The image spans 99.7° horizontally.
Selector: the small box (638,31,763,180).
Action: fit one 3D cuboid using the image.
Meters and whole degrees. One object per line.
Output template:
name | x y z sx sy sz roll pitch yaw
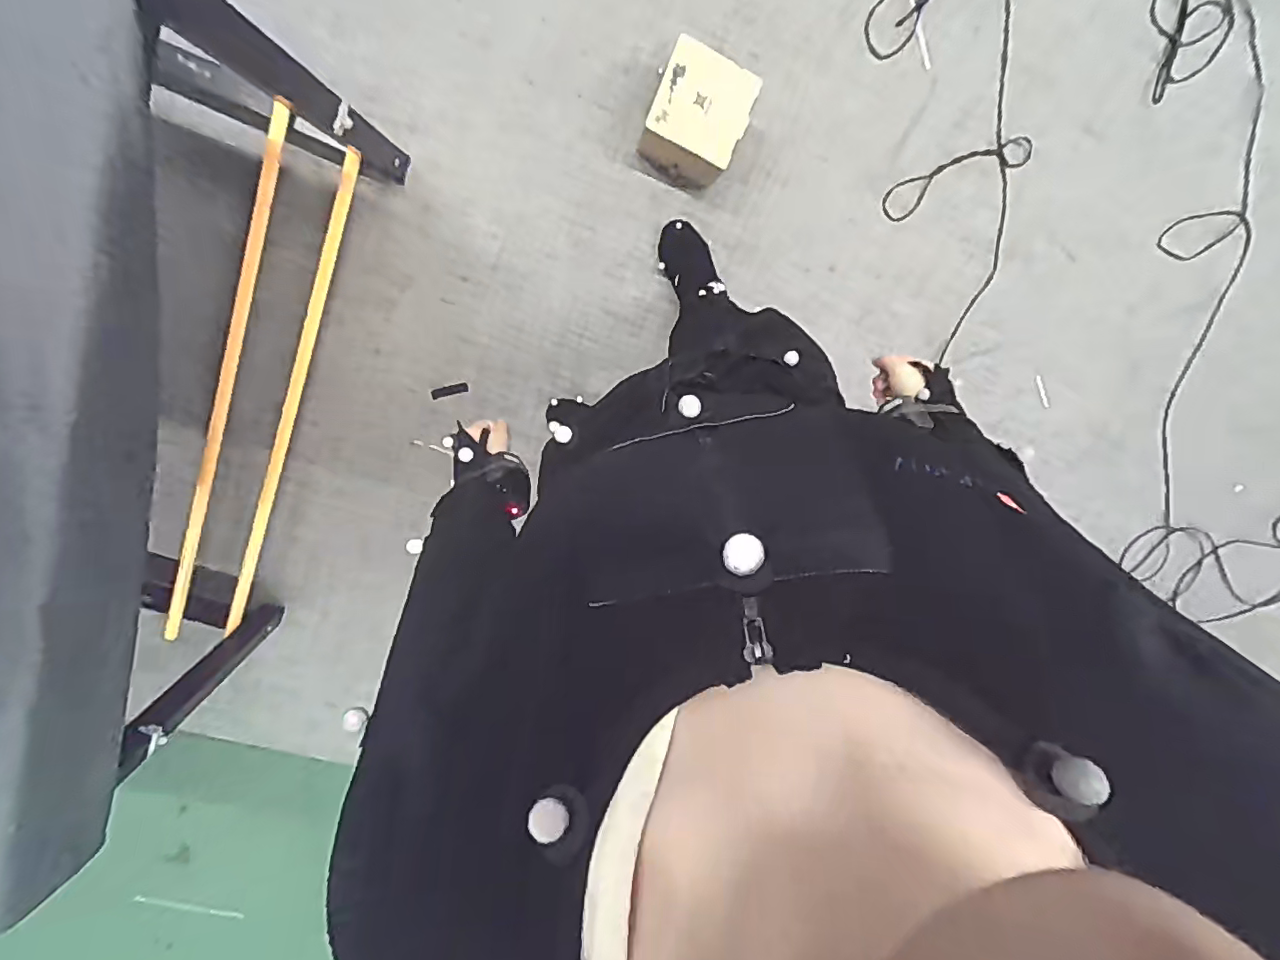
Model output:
small box | 0.110 -0.723 1.072 0.179 0.176 0.168 22 104 -12
